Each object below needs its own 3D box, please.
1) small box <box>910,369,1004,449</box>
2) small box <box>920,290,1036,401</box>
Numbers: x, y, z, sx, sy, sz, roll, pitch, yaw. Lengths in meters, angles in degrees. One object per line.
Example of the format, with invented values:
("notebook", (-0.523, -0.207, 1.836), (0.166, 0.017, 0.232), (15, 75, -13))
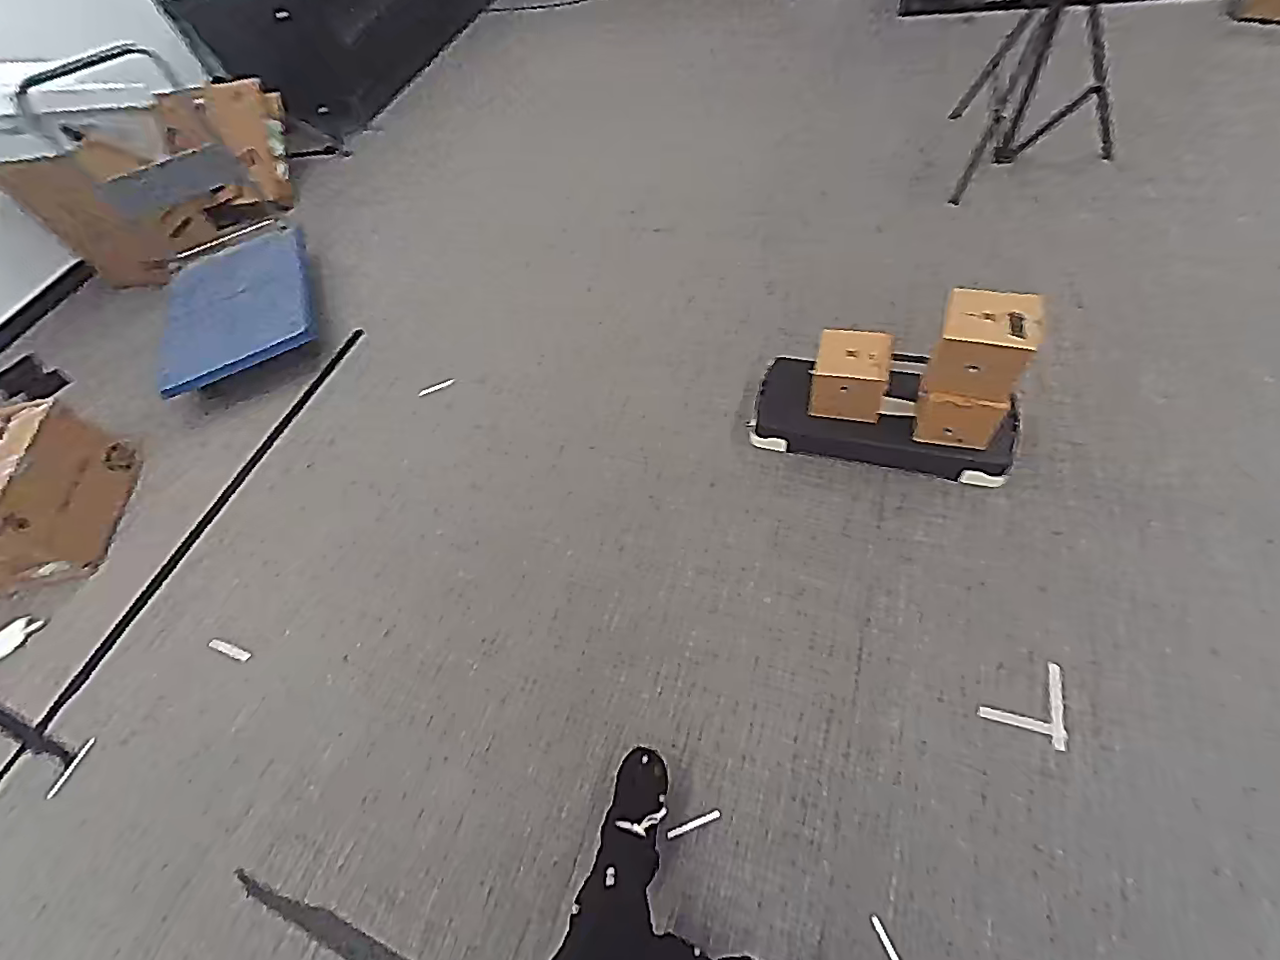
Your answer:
("small box", (0.789, -0.203, 1.359), (0.168, 0.176, 0.179), (10, 61, 17))
("small box", (0.762, -0.303, 1.230), (0.179, 0.176, 0.168), (14, 62, 20))
